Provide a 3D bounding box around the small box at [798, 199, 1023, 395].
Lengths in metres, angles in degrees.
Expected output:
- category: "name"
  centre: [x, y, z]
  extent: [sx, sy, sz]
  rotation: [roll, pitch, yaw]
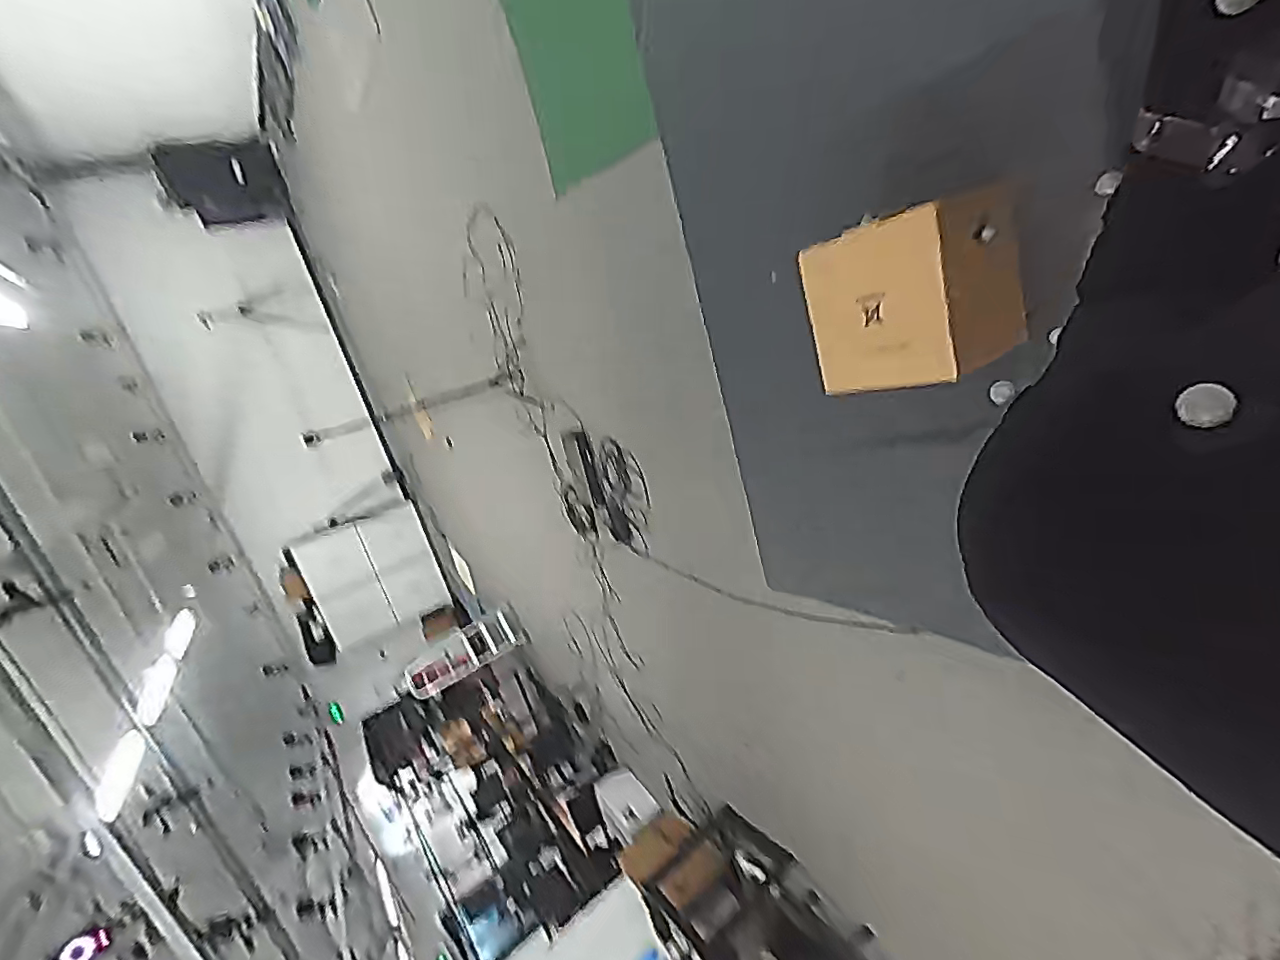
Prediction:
- category: "small box"
  centre: [0.321, -0.214, 0.642]
  extent: [0.168, 0.176, 0.179]
  rotation: [4, 116, 57]
